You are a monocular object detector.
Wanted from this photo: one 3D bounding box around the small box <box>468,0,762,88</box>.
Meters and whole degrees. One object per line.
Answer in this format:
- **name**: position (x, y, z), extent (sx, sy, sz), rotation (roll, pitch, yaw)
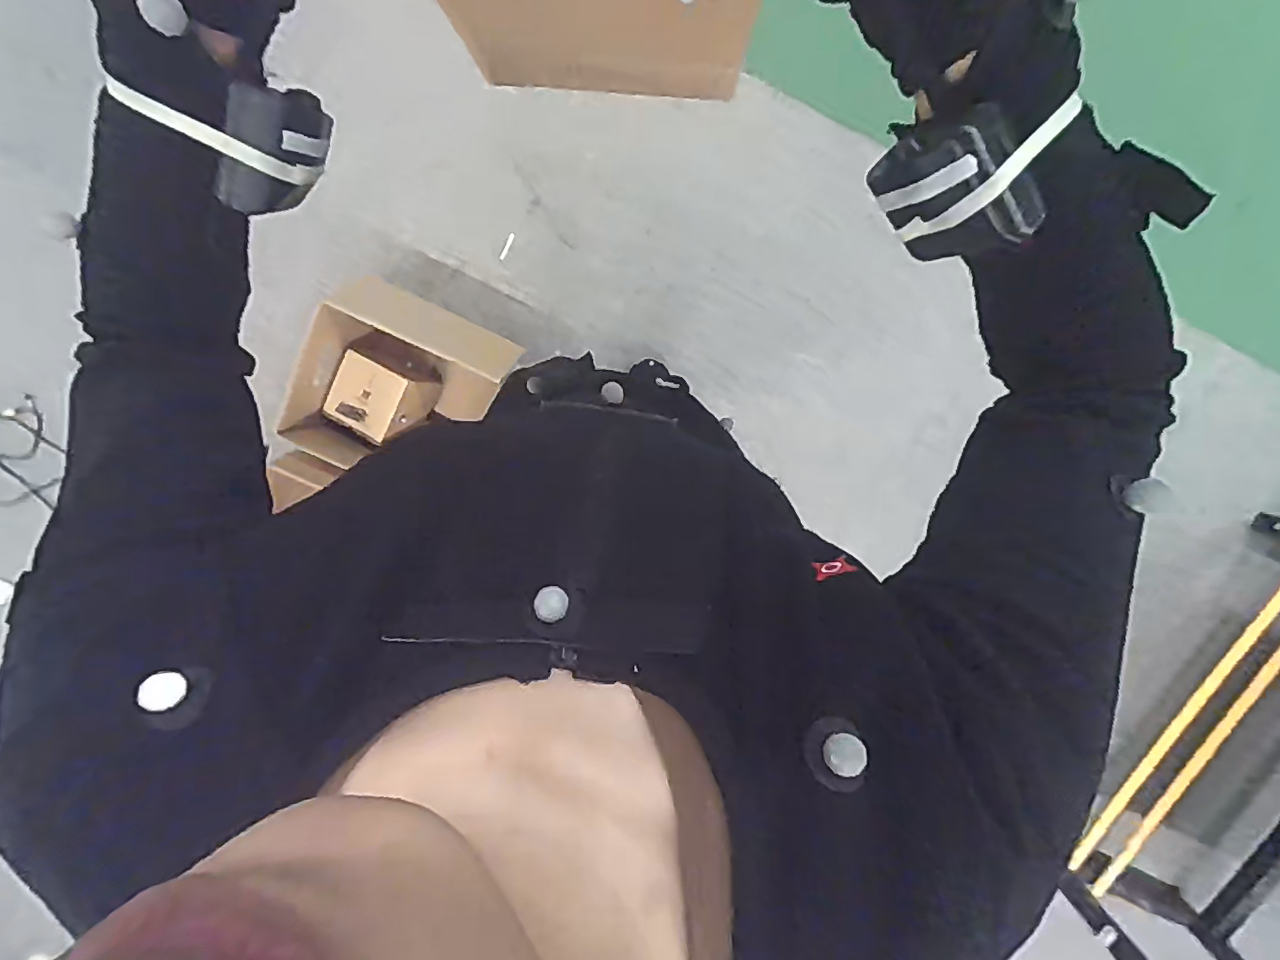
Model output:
- **small box**: position (-0.012, -0.338, 0.283), extent (0.179, 0.176, 0.168), rotation (4, 104, -1)
